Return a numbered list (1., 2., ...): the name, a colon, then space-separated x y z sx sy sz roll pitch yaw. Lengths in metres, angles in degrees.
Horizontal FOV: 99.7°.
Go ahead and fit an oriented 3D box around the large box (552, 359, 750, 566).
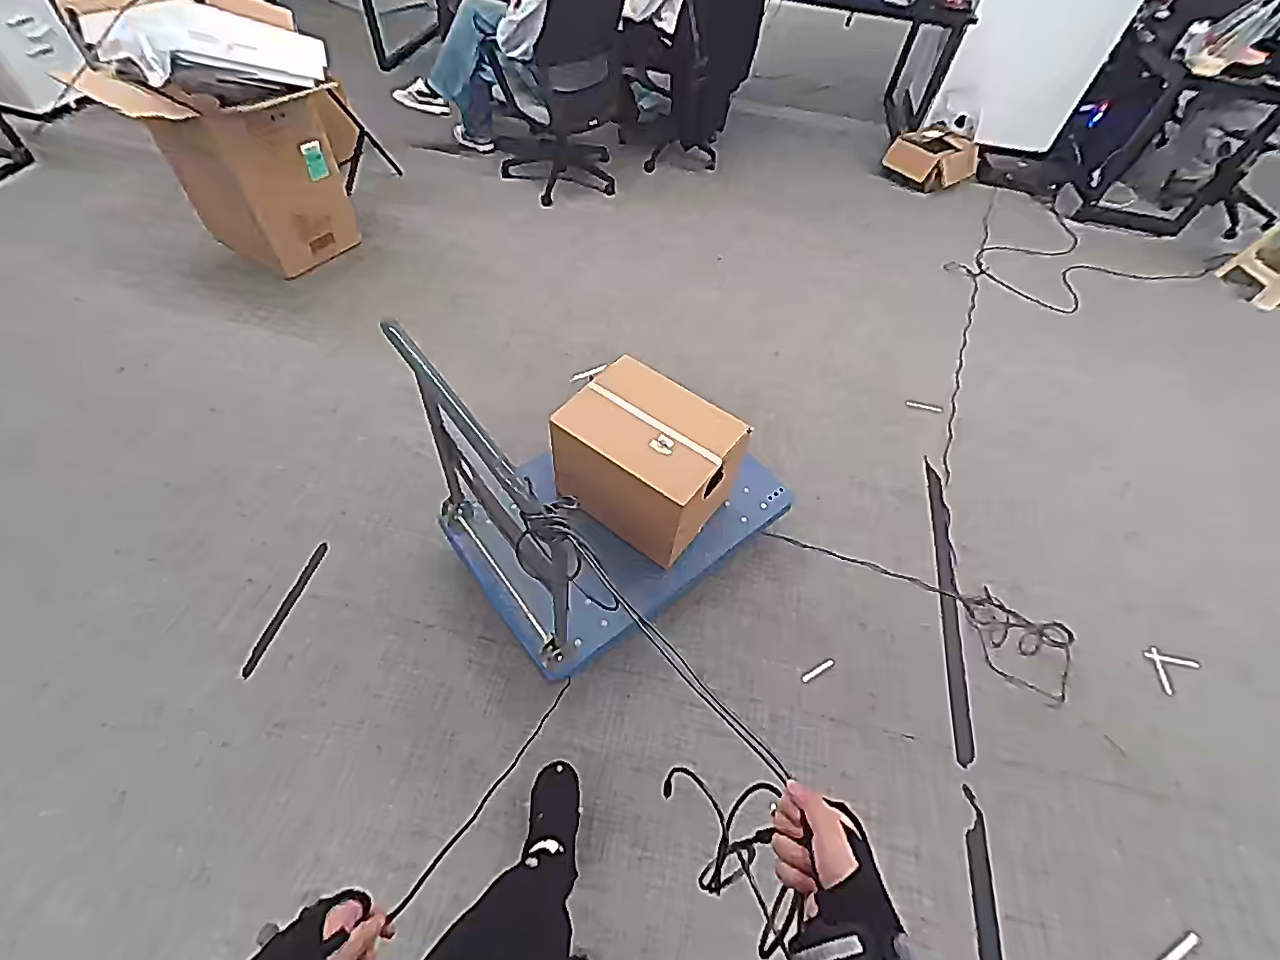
1. large box: 0.015 -0.048 1.449 0.408 0.320 0.320 33 59 17
